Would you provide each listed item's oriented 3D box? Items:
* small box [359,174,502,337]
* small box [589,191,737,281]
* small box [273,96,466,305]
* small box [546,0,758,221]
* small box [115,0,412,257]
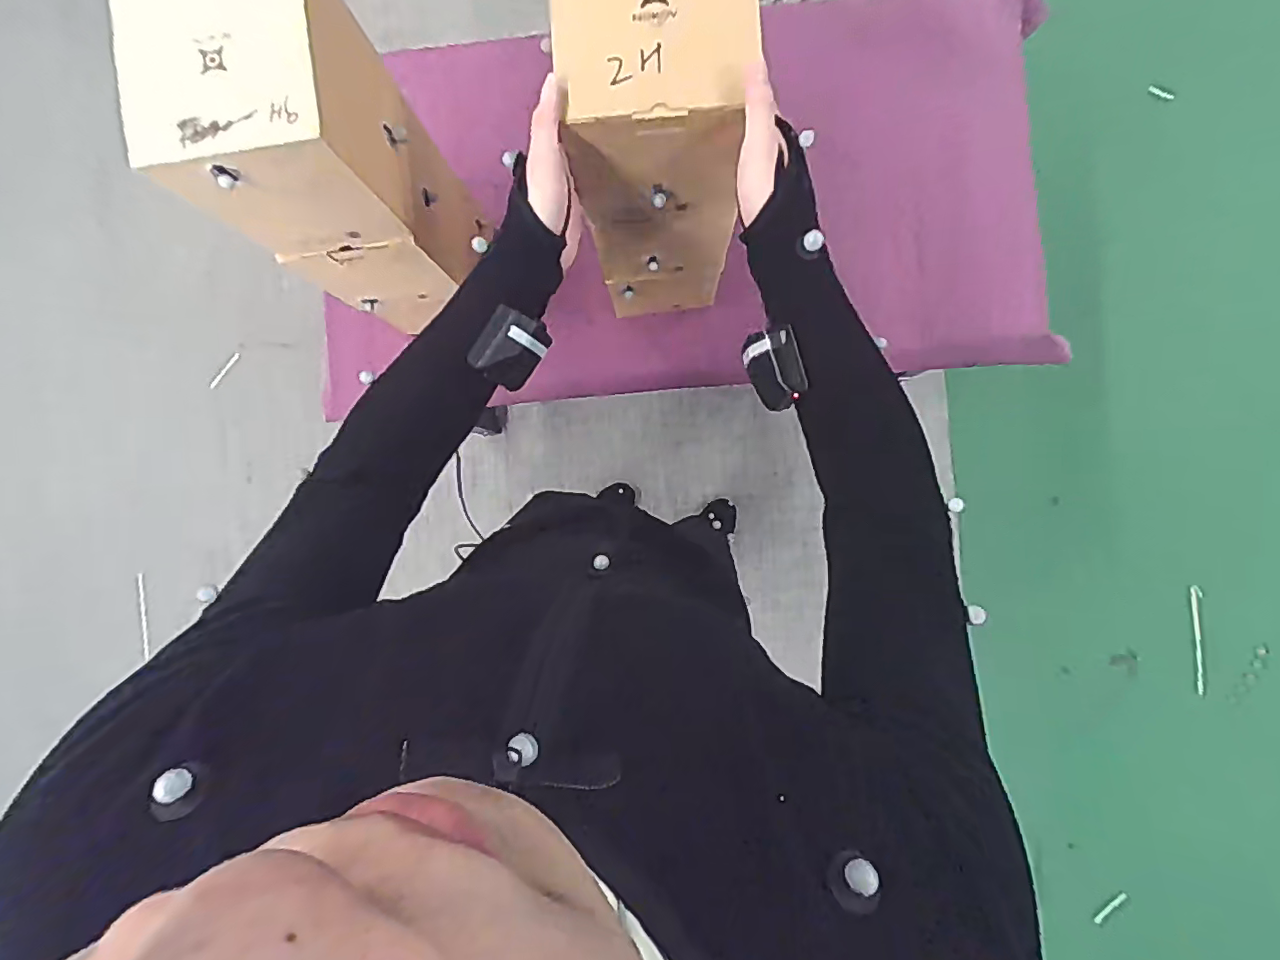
[{"bbox_3d":[-0.327,-0.341,0.850,0.168,0.176,0.179,-7,89,3],"label":"small box"},{"bbox_3d":[0.020,-0.371,0.671,0.168,0.176,0.179,-6,89,2],"label":"small box"},{"bbox_3d":[-0.334,-0.335,0.687,0.168,0.176,0.179,-7,88,3],"label":"small box"},{"bbox_3d":[0.010,-0.369,0.501,0.168,0.176,0.179,-3,90,3],"label":"small box"},{"bbox_3d":[-0.343,-0.345,0.522,0.168,0.176,0.179,-7,88,4],"label":"small box"}]
